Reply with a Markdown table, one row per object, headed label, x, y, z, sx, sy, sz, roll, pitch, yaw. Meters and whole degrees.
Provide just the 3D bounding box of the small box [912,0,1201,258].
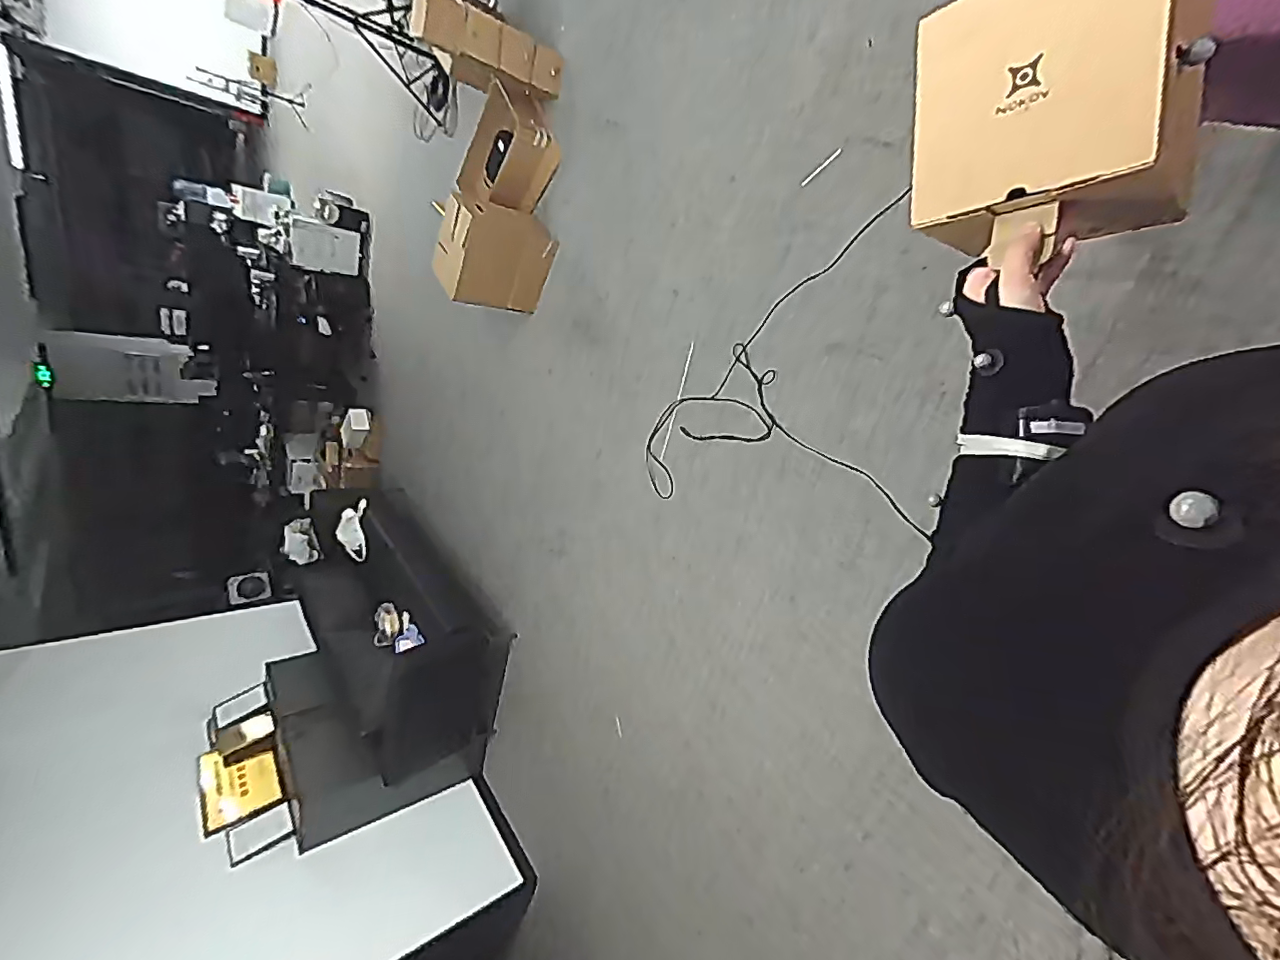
| label | x | y | z | sx | sy | sz | roll | pitch | yaw |
| --- | --- | --- | --- | --- | --- | --- | --- | --- | --- |
| small box | 0.361 | -0.313 | 0.472 | 0.168 | 0.176 | 0.179 | 7 | 102 | 49 |
